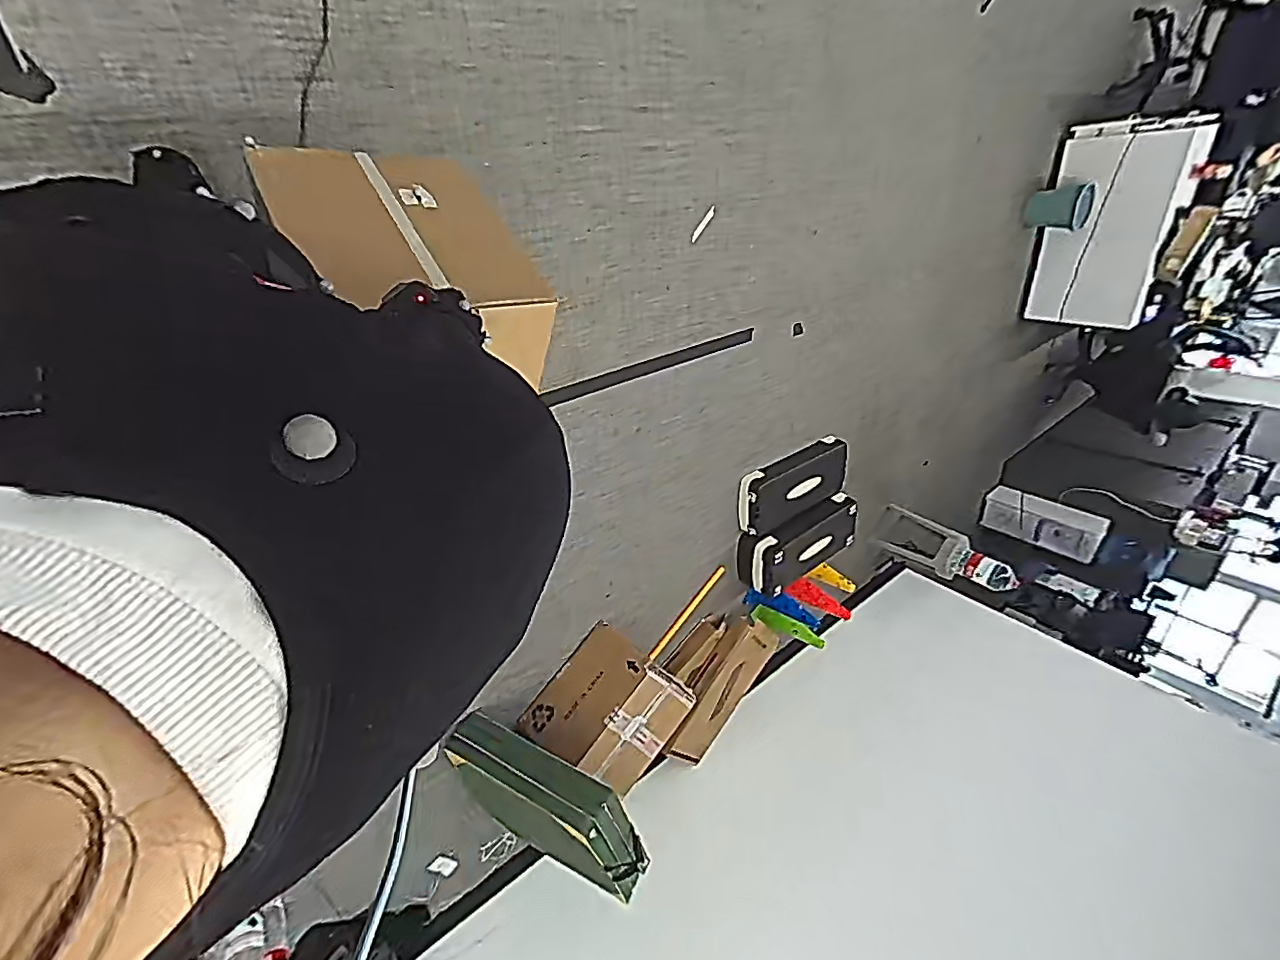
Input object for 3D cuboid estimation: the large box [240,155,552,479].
[{"bbox_3d":[-0.397,-0.273,0.897,0.320,0.408,0.320,-18,150,-35],"label":"large box"}]
